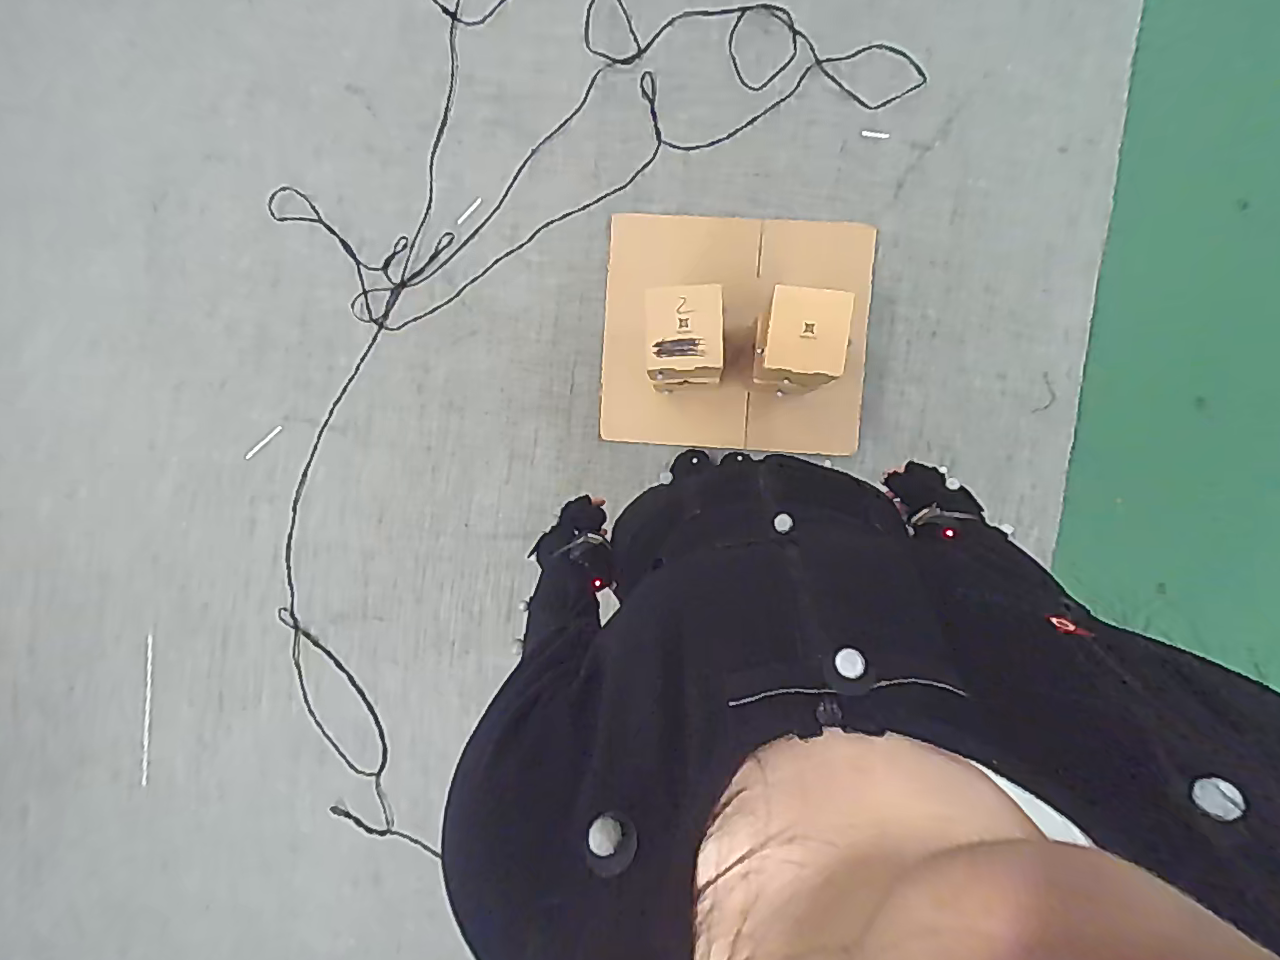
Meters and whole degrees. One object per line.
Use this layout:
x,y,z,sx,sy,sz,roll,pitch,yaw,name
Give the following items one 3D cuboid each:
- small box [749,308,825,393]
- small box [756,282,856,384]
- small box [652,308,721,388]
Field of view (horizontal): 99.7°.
0.367,-0.318,1.351,0.168,0.176,0.179,4,94,6,small box
0.356,-0.315,1.188,0.168,0.176,0.179,7,95,4,small box
0.117,-0.325,1.367,0.168,0.176,0.179,0,93,5,small box
